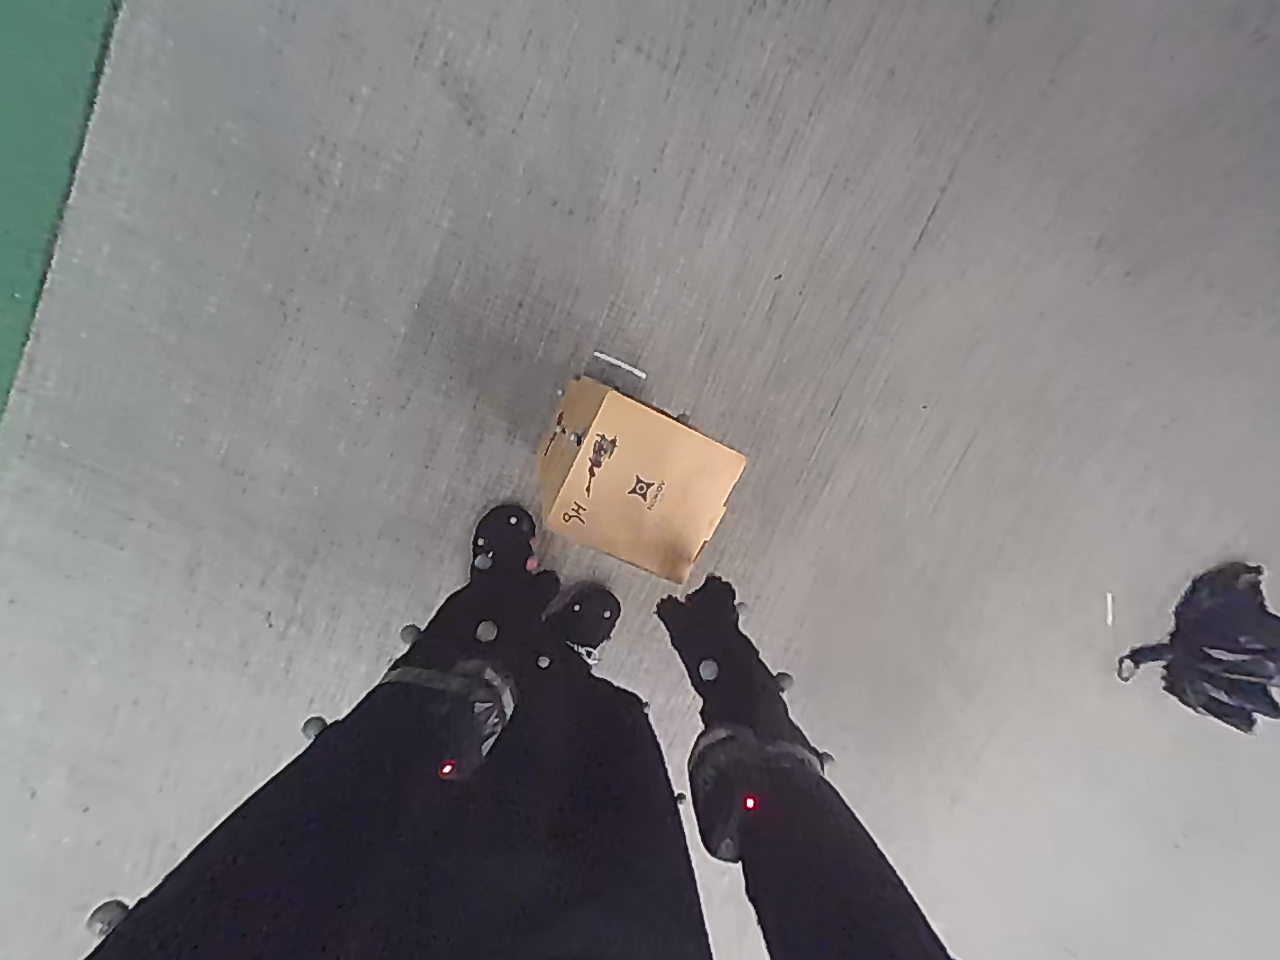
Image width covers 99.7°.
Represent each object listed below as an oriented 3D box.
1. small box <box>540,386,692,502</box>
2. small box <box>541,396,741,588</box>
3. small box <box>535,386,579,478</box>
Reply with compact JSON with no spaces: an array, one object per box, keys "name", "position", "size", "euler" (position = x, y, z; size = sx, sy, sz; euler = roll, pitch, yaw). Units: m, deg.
[{"name":"small box","position":[-0.046,-0.033,0.826],"size":[0.168,0.176,0.179],"euler":[22,98,-13]},{"name":"small box","position":[-0.010,0.003,0.671],"size":[0.179,0.176,0.168],"euler":[25,96,-14]},{"name":"small box","position":[-0.083,-0.064,0.998],"size":[0.179,0.176,0.168],"euler":[23,97,-15]}]
